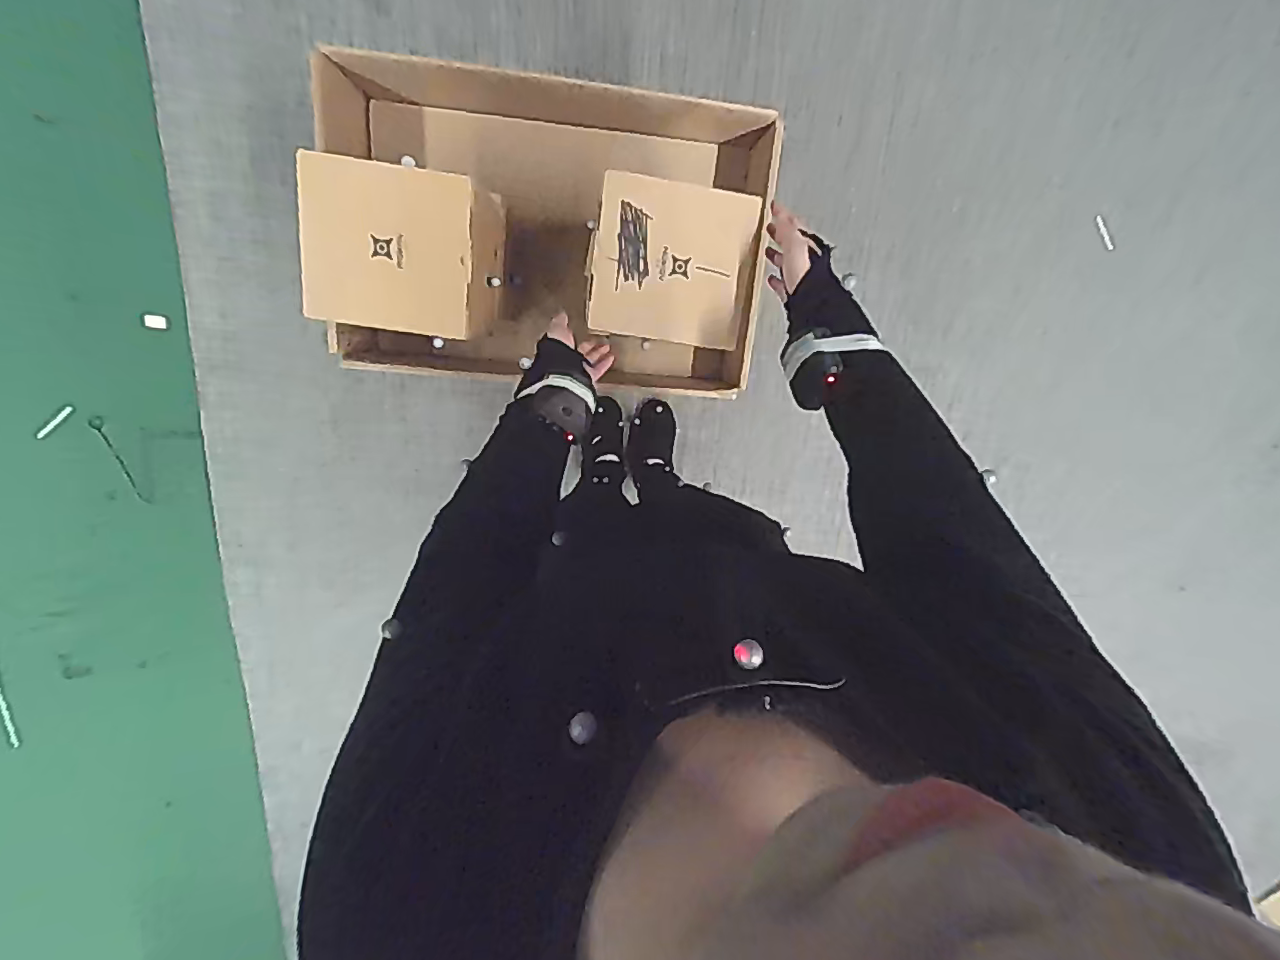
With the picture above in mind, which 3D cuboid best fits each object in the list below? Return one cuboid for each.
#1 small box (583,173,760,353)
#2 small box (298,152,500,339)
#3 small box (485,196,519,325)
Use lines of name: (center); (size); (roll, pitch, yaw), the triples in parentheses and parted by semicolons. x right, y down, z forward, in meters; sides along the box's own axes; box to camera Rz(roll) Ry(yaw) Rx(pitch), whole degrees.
small box: (0.027, -0.254, 0.670); (0.179, 0.176, 0.168); (7, 105, -7)
small box: (-0.275, -0.265, 0.649); (0.179, 0.176, 0.168); (6, 106, -7)
small box: (-0.284, -0.323, 0.800); (0.179, 0.176, 0.168); (5, 106, -7)
